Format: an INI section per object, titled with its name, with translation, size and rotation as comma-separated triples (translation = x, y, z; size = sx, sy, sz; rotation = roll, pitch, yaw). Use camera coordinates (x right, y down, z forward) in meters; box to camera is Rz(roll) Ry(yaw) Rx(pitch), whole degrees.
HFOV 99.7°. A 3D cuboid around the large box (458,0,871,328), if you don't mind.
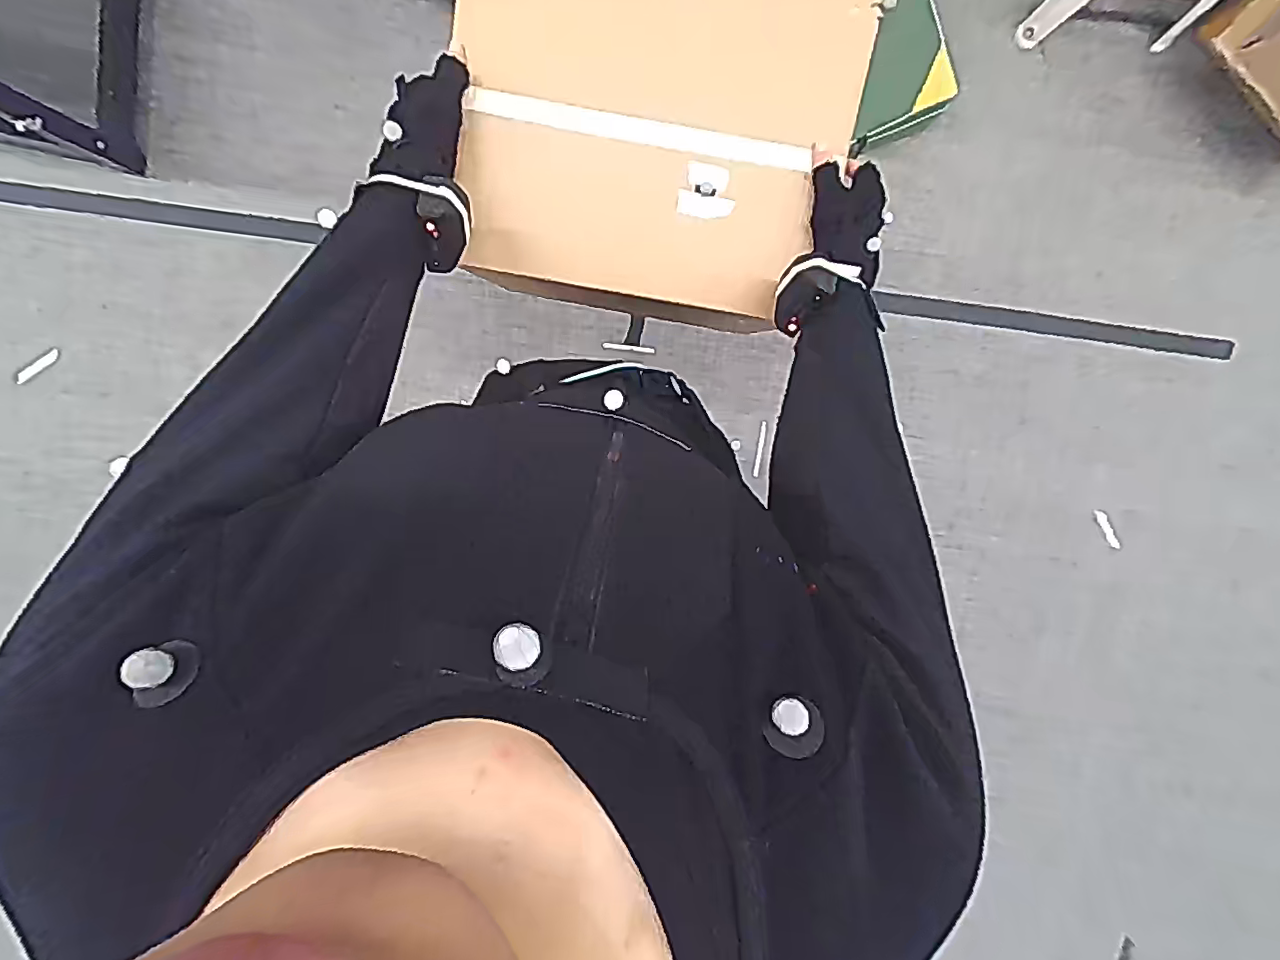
[large box]
translation = 0.012, -0.391, 0.712
size = 0.408, 0.320, 0.320
rotation = 9, 104, -4
